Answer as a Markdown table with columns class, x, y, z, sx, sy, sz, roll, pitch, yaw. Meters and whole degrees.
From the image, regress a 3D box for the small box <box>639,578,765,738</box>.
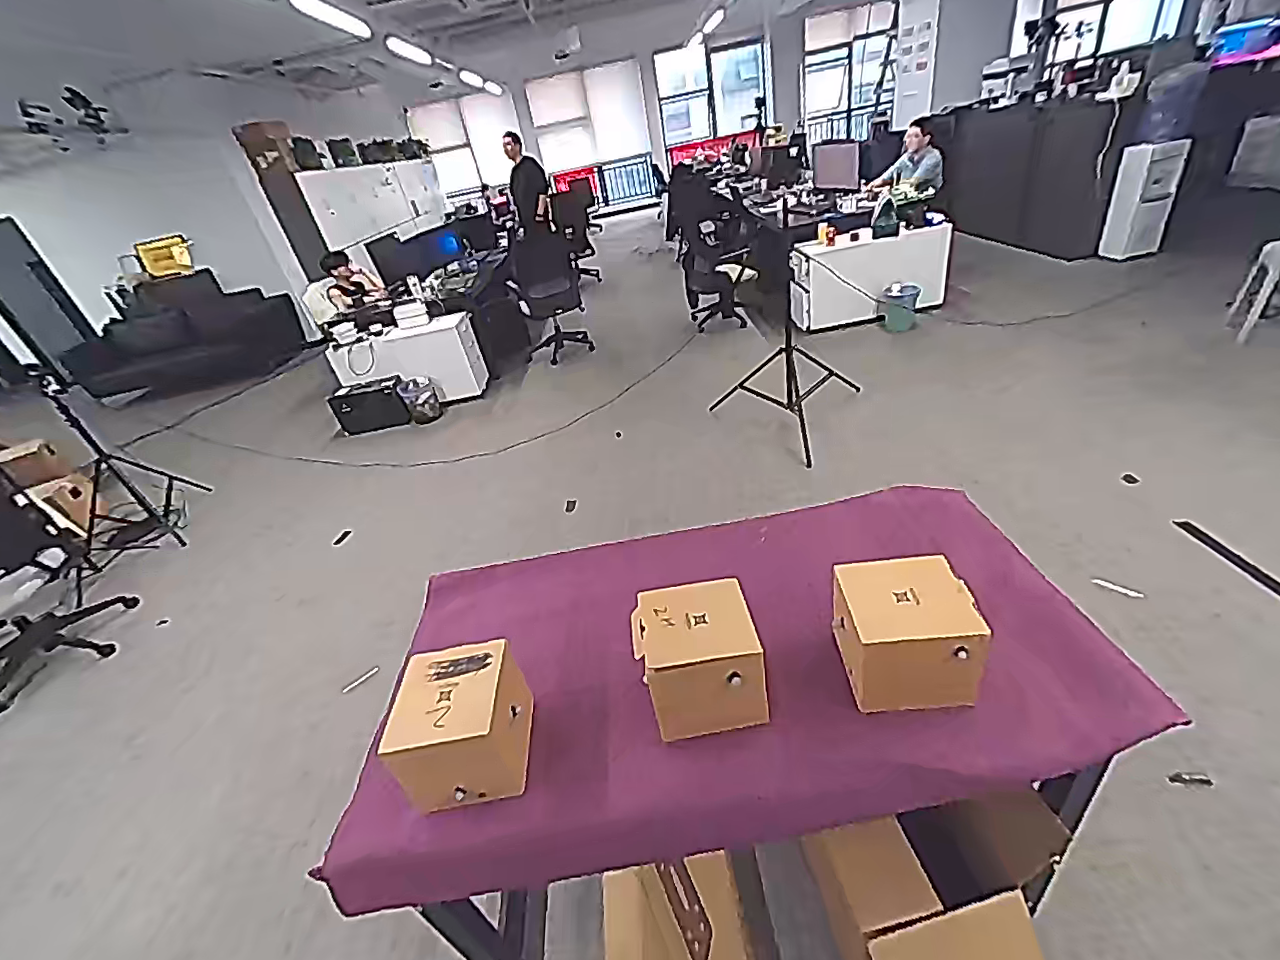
| class | x | y | z | sx | sy | sz | roll | pitch | yaw |
| --- | --- | --- | --- | --- | --- | --- | --- | --- | --- |
| small box | 0.101 | 0.291 | 0.887 | 0.179 | 0.176 | 0.168 | -12 | 30 | 1 |

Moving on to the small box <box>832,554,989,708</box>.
| class | x | y | z | sx | sy | sz | roll | pitch | yaw |
| --- | --- | --- | --- | --- | --- | --- | --- | --- | --- |
| small box | 0.415 | 0.242 | 0.859 | 0.179 | 0.176 | 0.168 | -8 | 33 | 7 |
